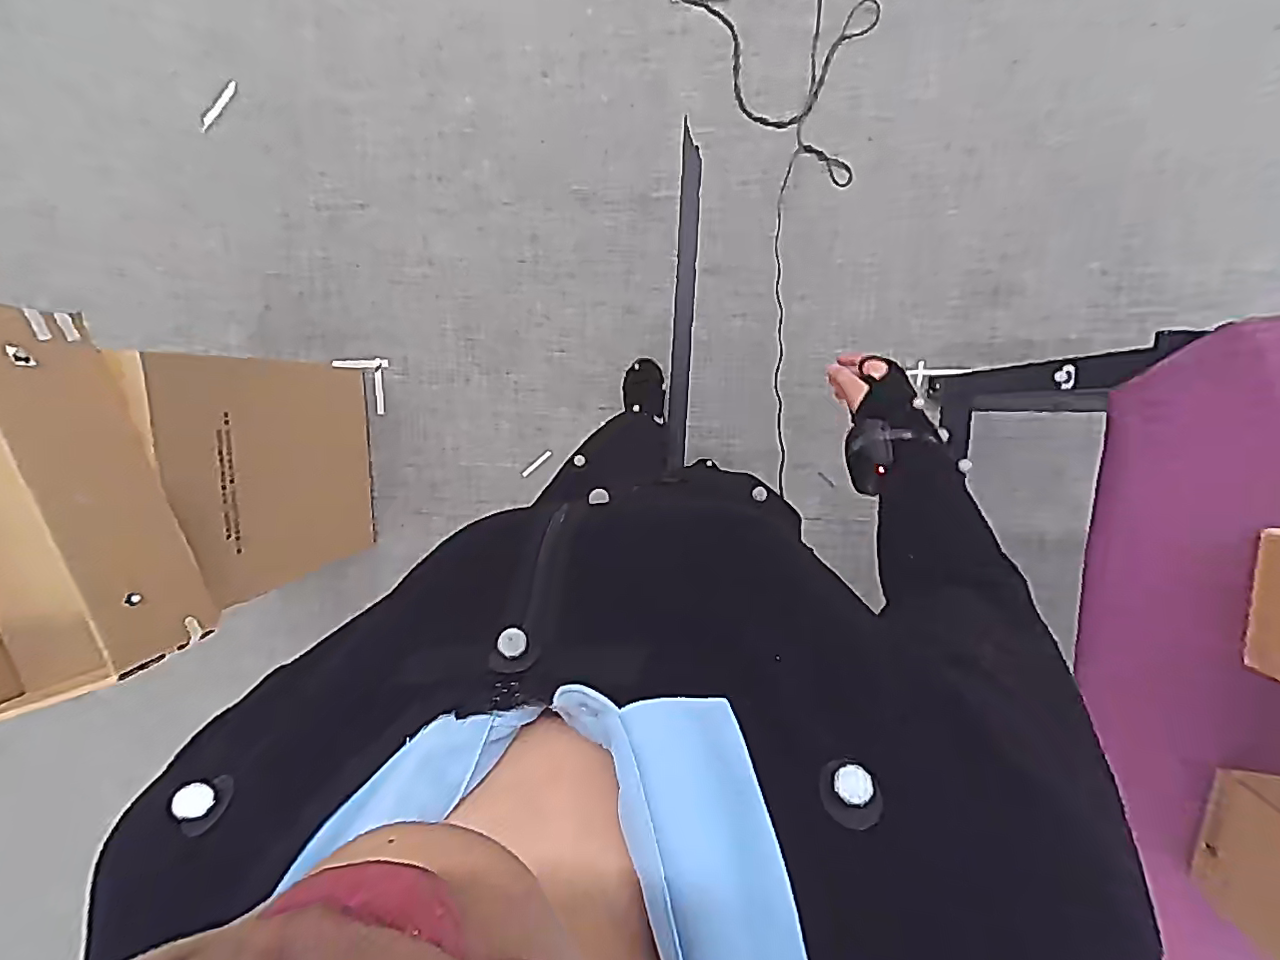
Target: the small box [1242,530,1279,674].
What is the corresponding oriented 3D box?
[{"bbox_3d":[0.821,0.153,0.580,0.168,0.176,0.179,-1,98,7],"label":"small box"}]
